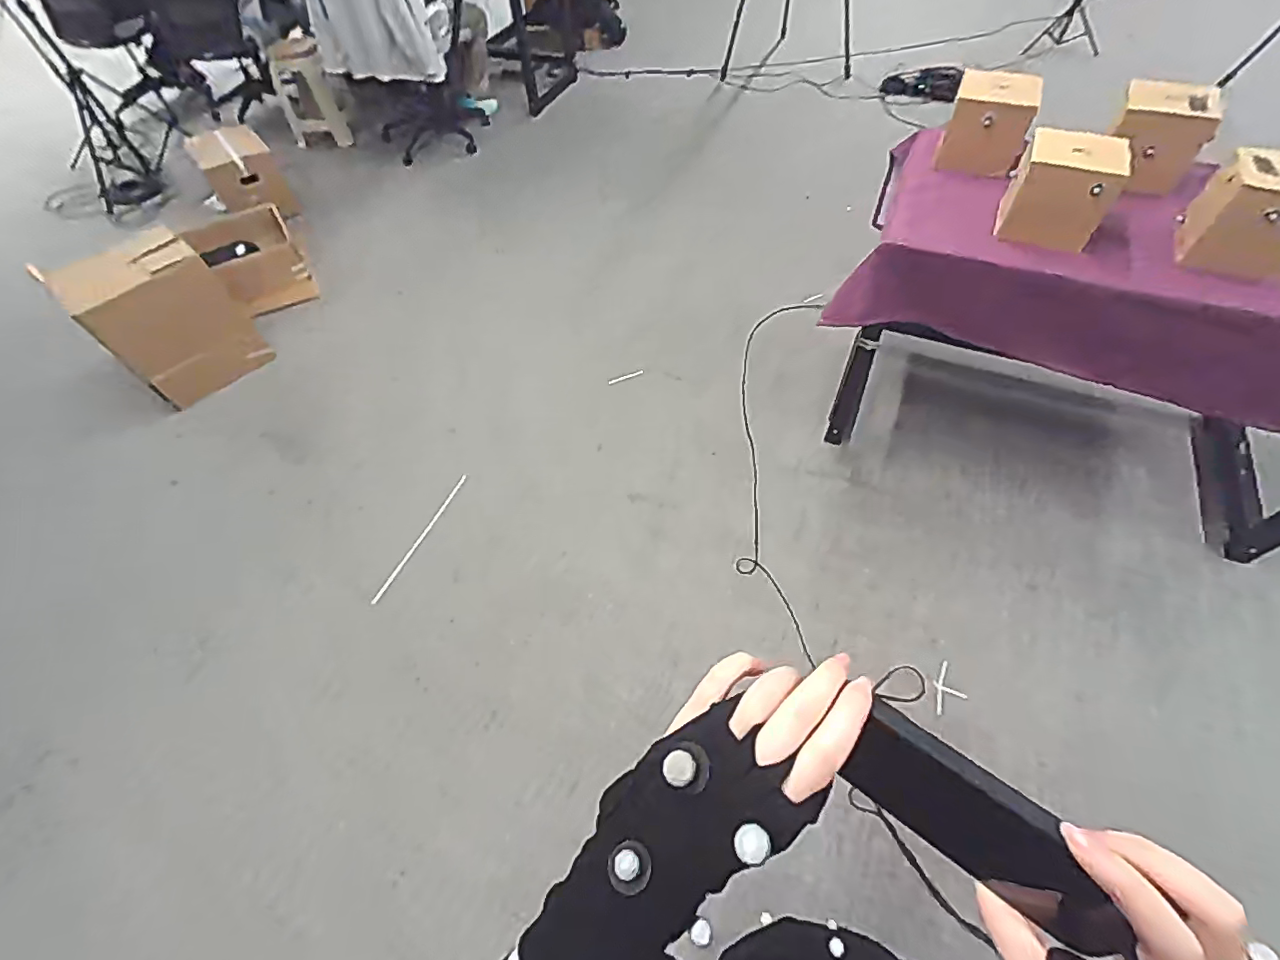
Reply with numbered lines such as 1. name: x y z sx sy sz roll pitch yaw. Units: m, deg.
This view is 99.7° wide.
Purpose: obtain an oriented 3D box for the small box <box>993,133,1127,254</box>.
1. small box: 0.902 -0.619 1.174 0.179 0.176 0.168 20 59 16

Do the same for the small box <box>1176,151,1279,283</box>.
1. small box: 1.229 -0.522 1.081 0.179 0.176 0.168 22 59 17
